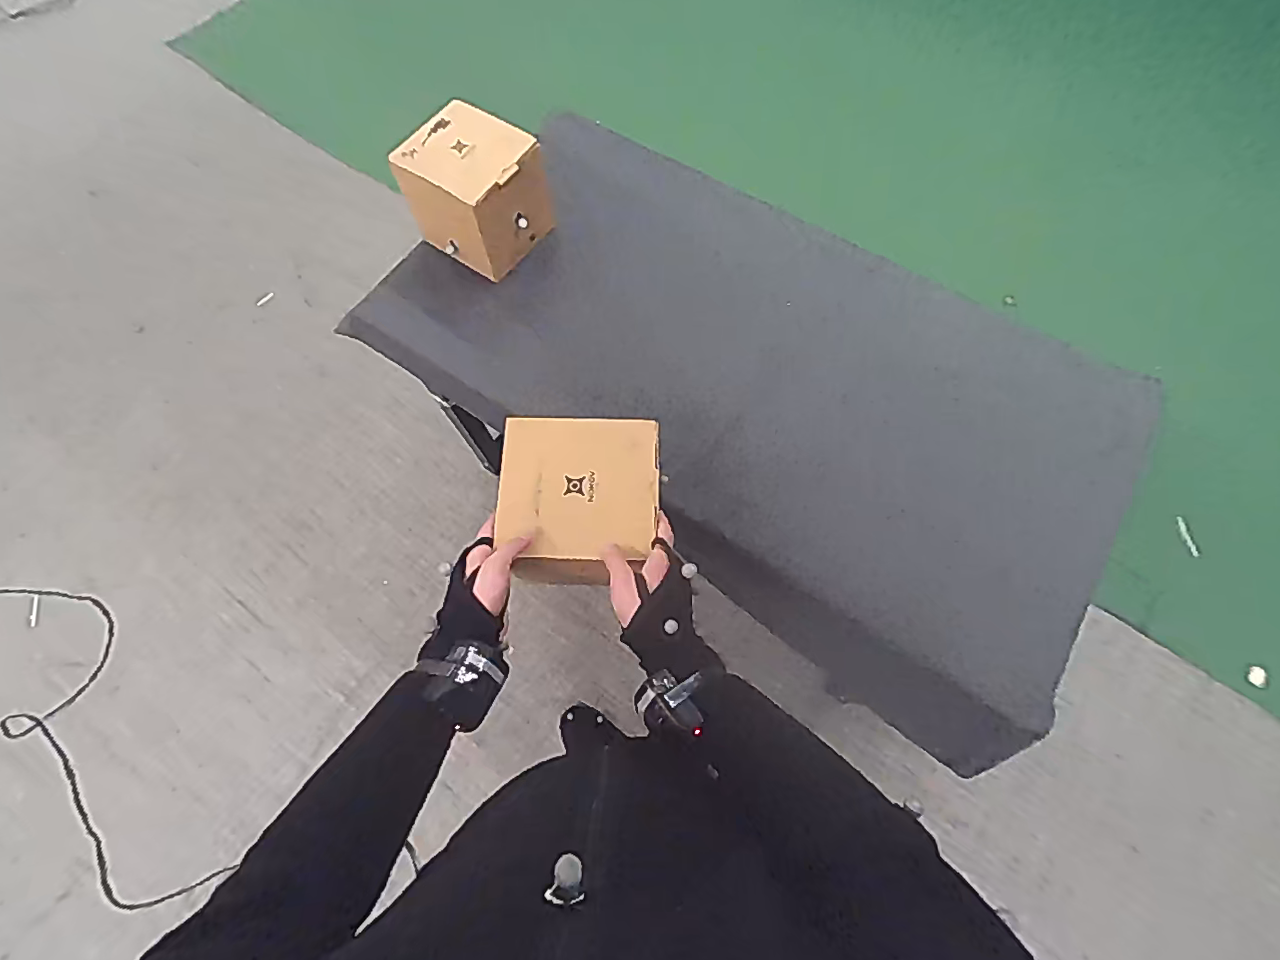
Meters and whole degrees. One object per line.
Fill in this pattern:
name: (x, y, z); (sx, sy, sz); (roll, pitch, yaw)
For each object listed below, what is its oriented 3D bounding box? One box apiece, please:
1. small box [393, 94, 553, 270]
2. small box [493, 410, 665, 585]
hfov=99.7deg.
small box: (-0.265, -0.486, 0.907); (0.179, 0.176, 0.168); (34, 71, 10)
small box: (-0.063, 0.029, 0.655); (0.179, 0.176, 0.168); (2, 68, 0)
